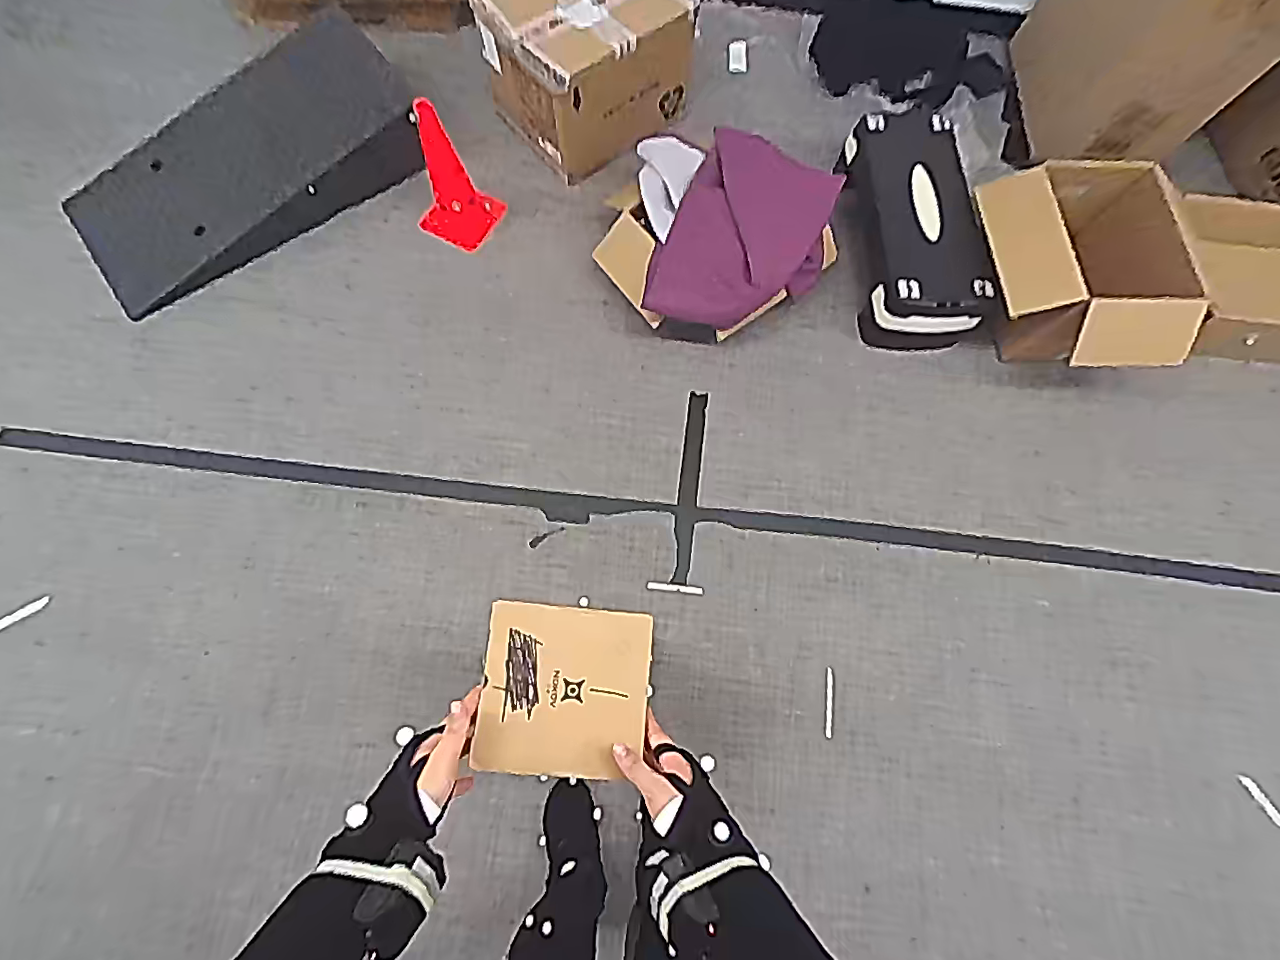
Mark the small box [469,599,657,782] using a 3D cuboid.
[{"bbox_3d":[-0.081,0.233,0.626,0.179,0.176,0.168,6,75,-4],"label":"small box"}]
